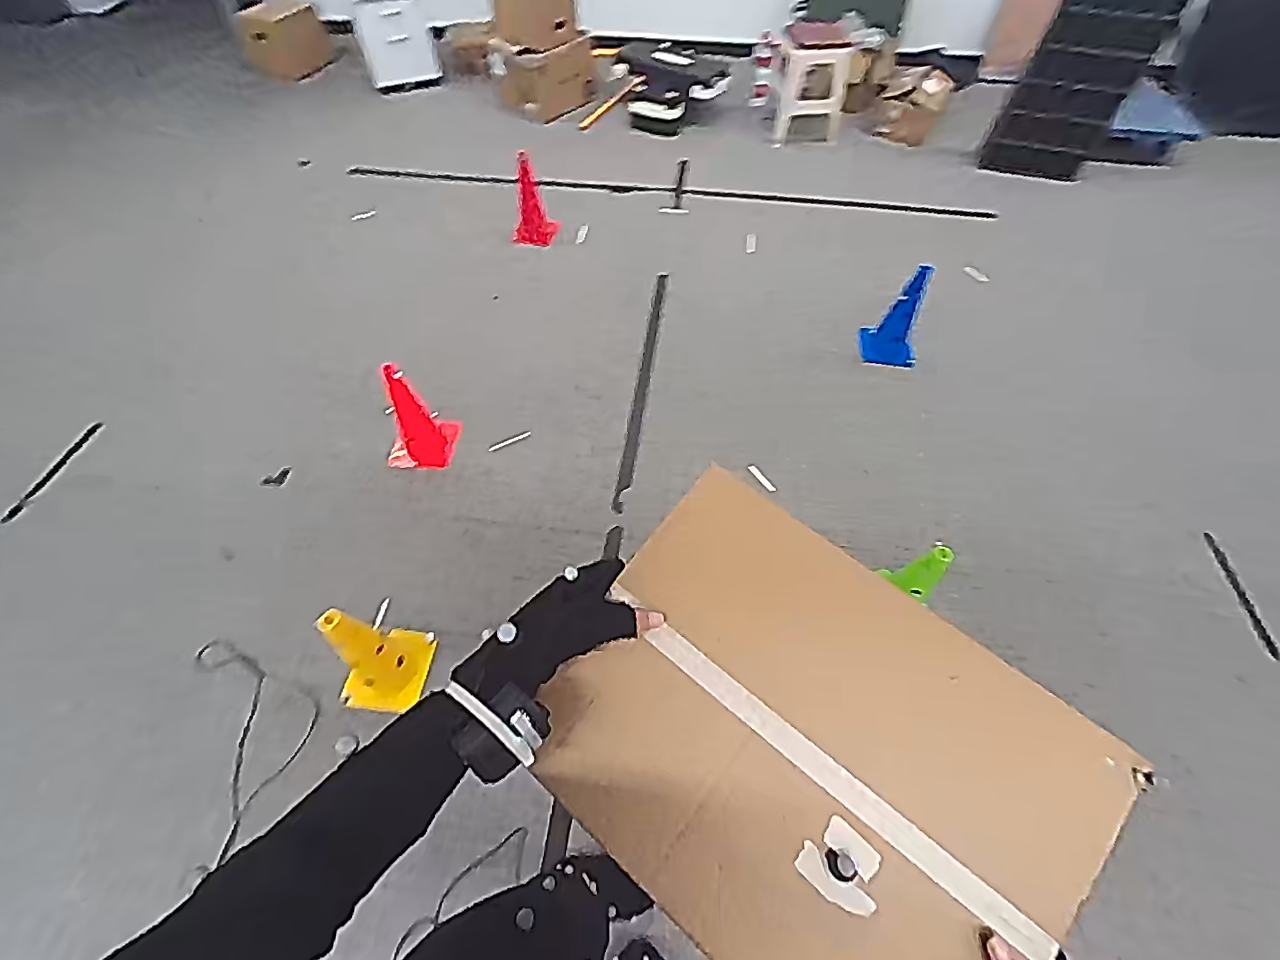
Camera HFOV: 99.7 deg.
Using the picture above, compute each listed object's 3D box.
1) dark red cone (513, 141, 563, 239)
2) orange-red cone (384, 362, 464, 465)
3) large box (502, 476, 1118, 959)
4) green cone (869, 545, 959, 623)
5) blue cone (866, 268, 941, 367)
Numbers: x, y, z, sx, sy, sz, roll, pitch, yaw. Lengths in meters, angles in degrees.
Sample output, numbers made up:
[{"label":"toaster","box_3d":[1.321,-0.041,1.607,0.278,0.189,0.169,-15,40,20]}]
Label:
[{"label":"dark red cone","box_3d":[-0.473,-1.292,2.406,0.201,0.394,0.202,12,56,6]},{"label":"orange-red cone","box_3d":[-0.717,-0.227,1.701,0.198,0.360,0.199,4,57,3]},{"label":"large box","box_3d":[0.138,0.266,0.580,0.408,0.320,0.320,36,78,17]},{"label":"green cone","box_3d":[0.701,0.272,1.377,0.202,0.368,0.200,-24,60,-18]},{"label":"blue cone","box_3d":[1.002,-0.615,2.012,0.192,0.380,0.193,10,56,5]}]
